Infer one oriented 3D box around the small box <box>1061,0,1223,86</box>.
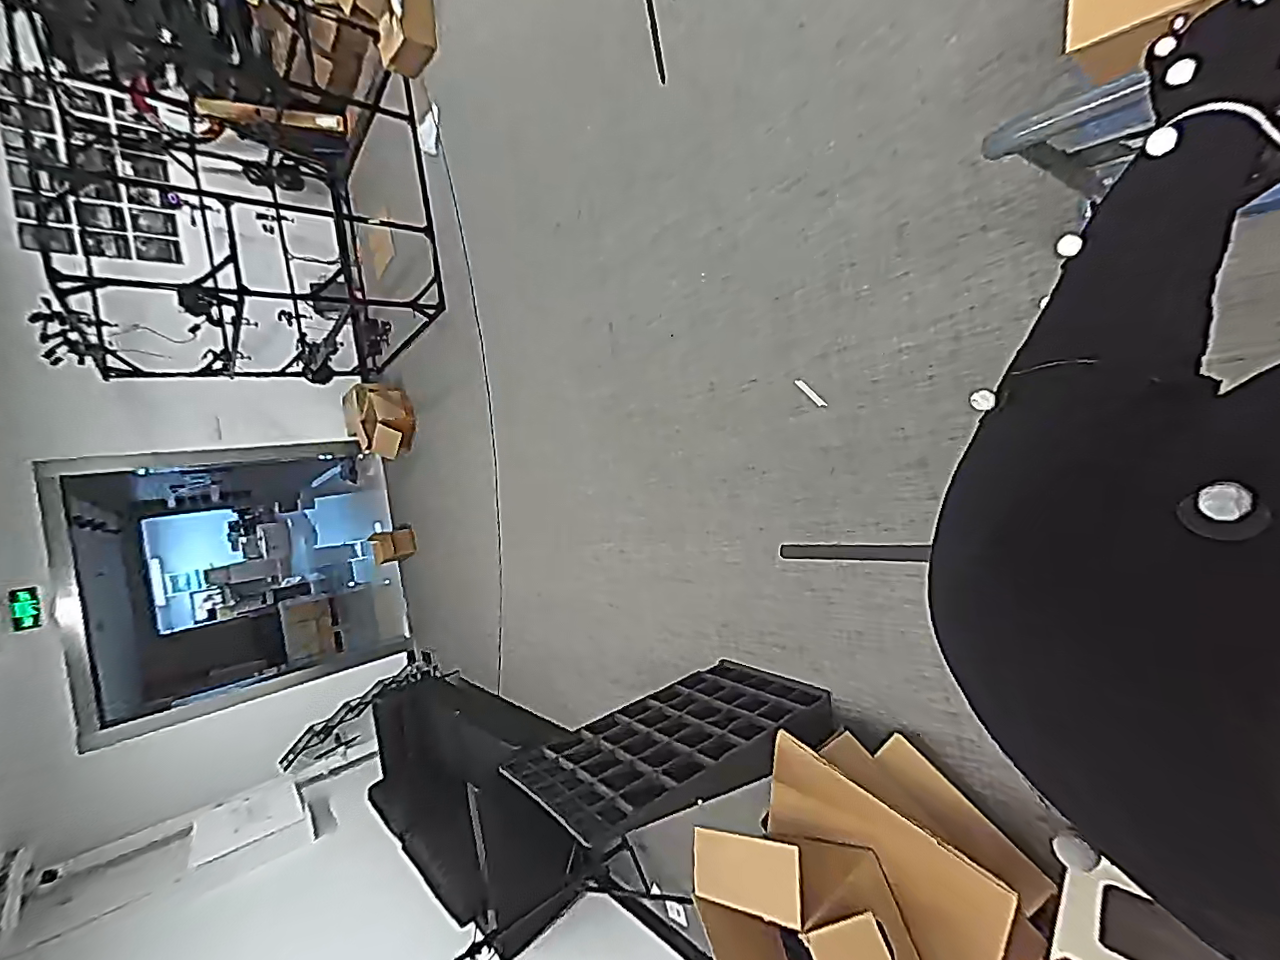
[{"bbox_3d":[0.819,-0.788,0.879,0.179,0.176,0.168,7,102,48],"label":"small box"}]
